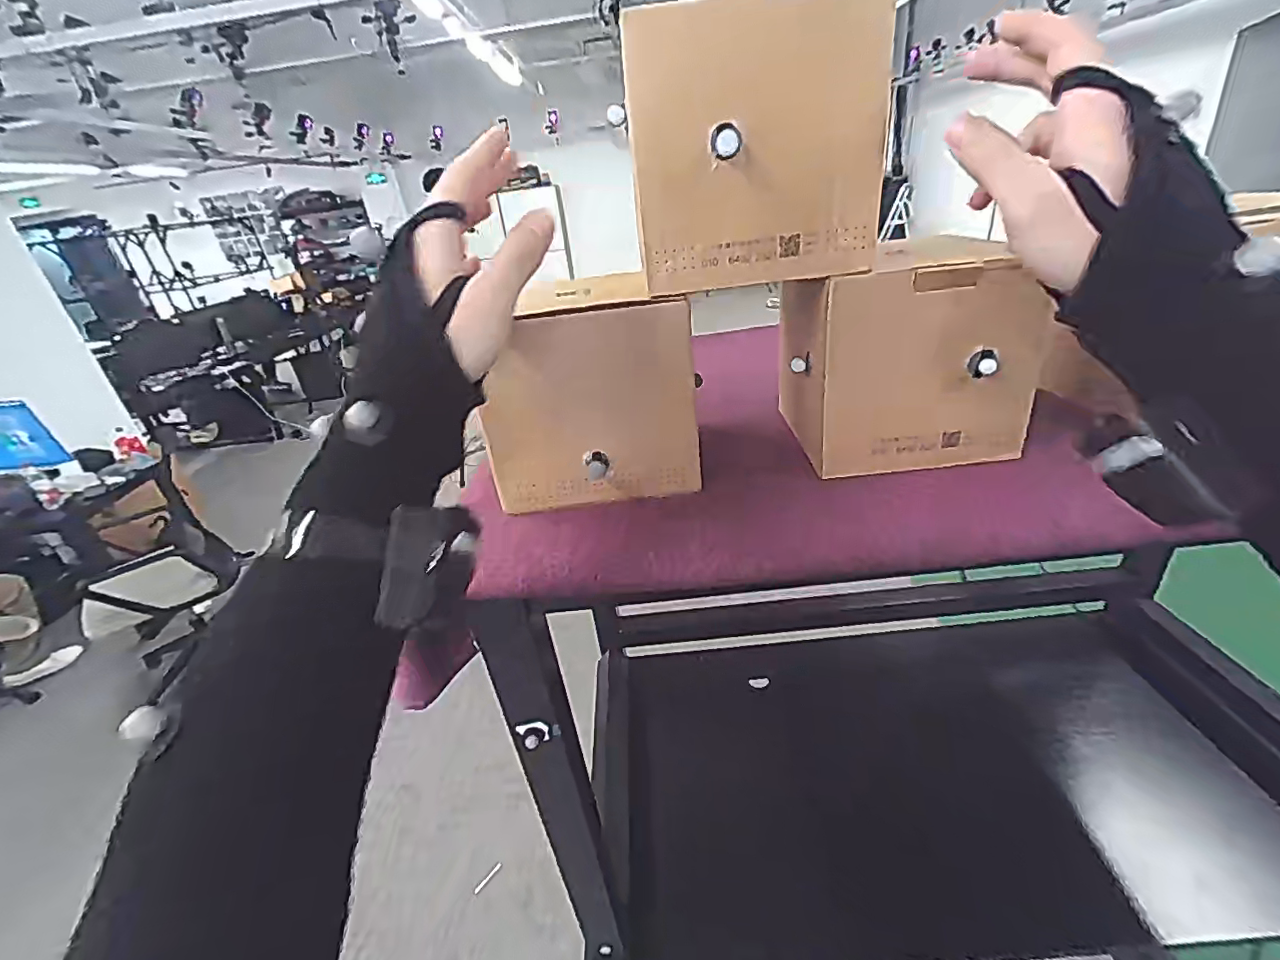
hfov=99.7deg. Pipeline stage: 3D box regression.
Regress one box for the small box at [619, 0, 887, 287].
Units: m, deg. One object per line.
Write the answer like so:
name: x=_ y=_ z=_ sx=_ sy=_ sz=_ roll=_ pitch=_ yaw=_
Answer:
small box: x=0.078 y=-0.254 z=0.427 sx=0.168 sy=0.176 sz=0.179 roll=-6 pitch=27 yaw=3

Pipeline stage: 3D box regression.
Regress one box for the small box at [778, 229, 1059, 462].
small box: x=0.226 y=-0.122 z=0.492 sx=0.168 sy=0.176 sz=0.179 roll=-5 pitch=27 yaw=4

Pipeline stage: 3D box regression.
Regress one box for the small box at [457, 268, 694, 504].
small box: x=-0.045 y=-0.092 z=0.500 sx=0.179 sy=0.176 sz=0.168 roll=-6 pitch=27 yaw=-1
